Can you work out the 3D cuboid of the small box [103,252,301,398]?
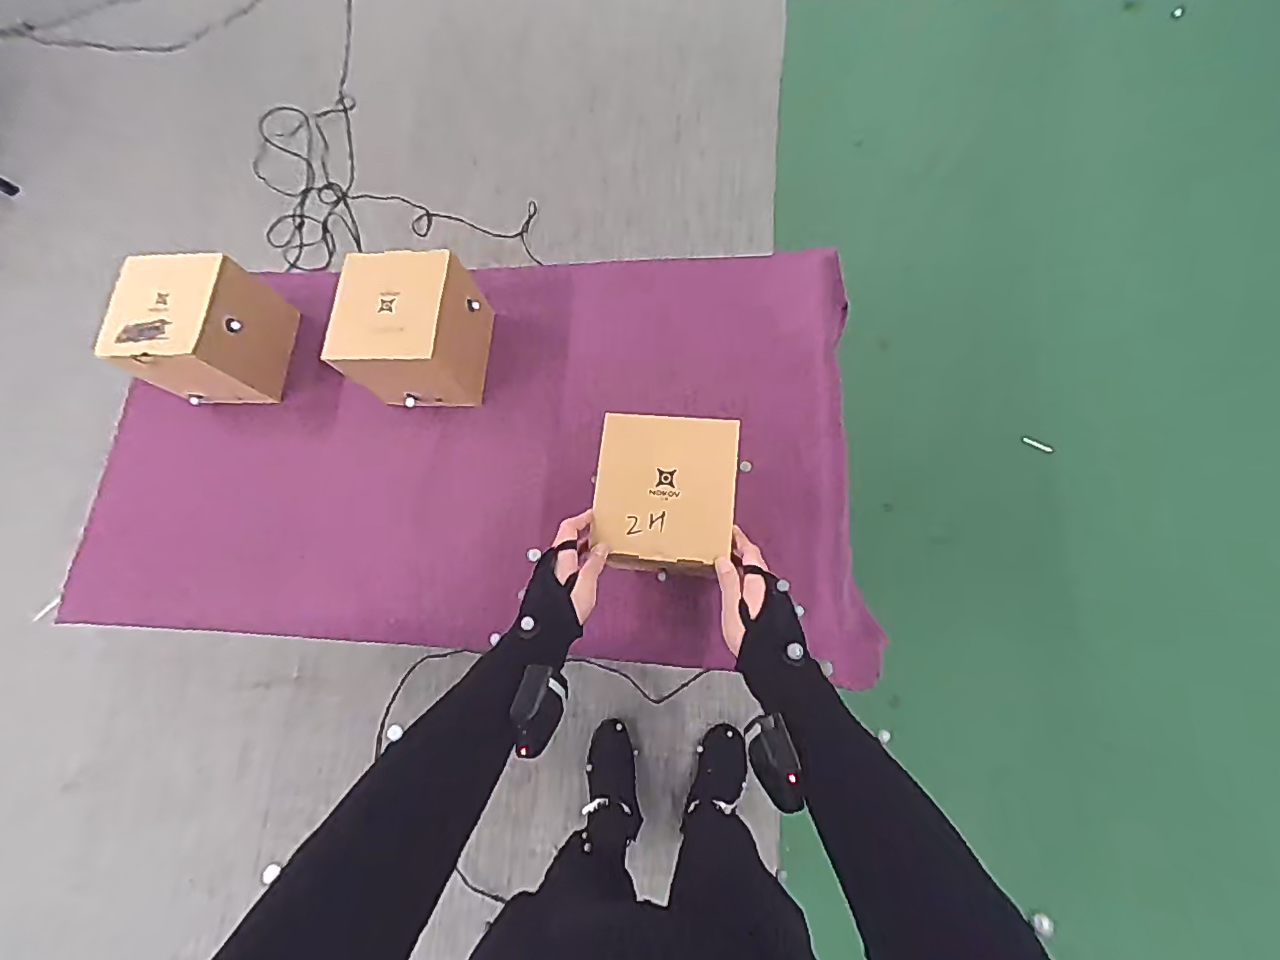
[{"bbox_3d":[-0.696,-0.243,0.883,0.168,0.176,0.179,1,74,7],"label":"small box"}]

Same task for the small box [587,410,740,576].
[{"bbox_3d":[0.038,0.024,0.711,0.168,0.176,0.179,5,76,9],"label":"small box"}]

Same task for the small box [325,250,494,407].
[{"bbox_3d":[-0.341,-0.229,0.838,0.168,0.176,0.179,2,75,8],"label":"small box"}]
